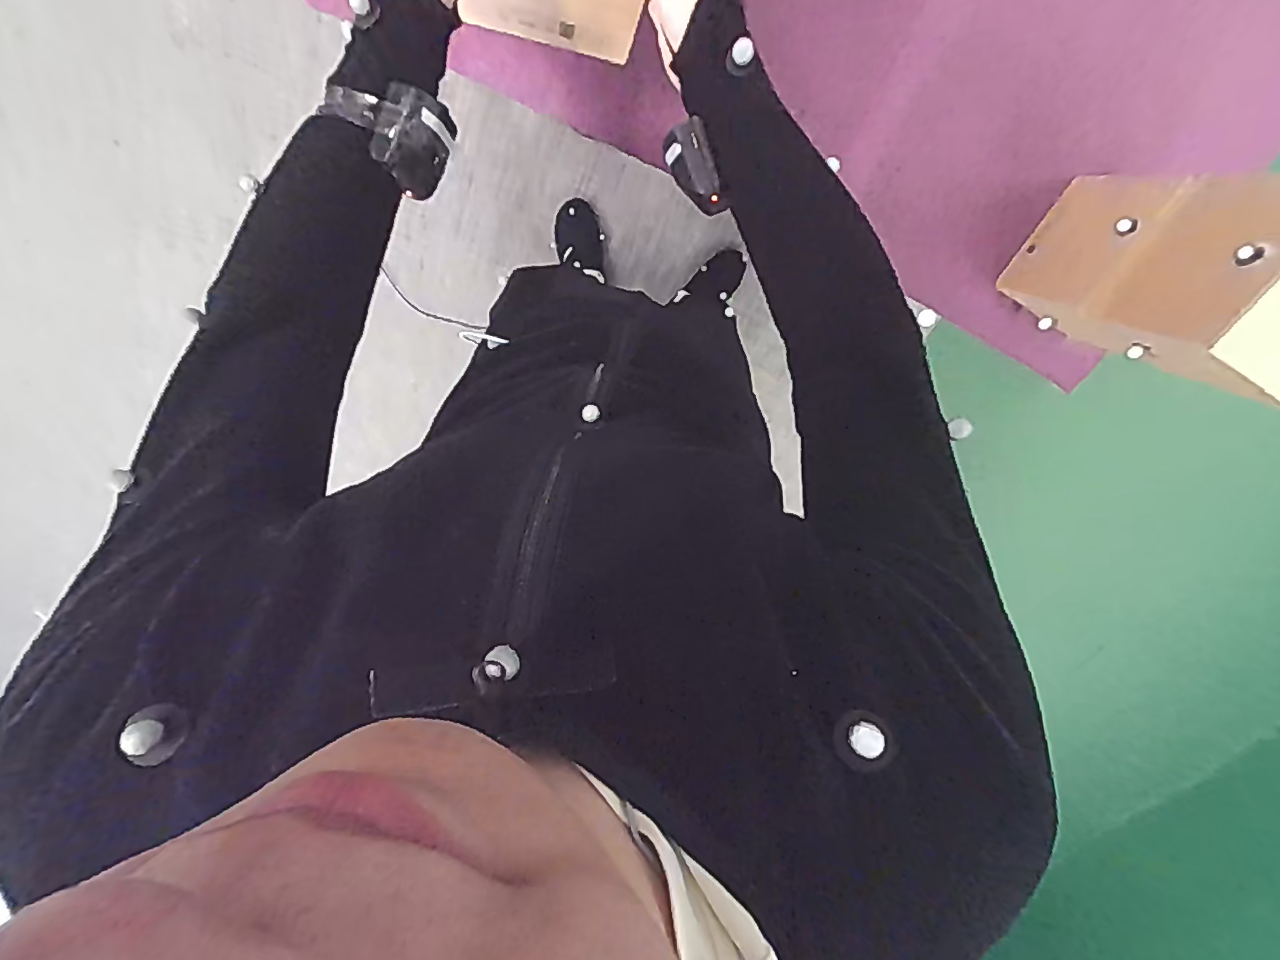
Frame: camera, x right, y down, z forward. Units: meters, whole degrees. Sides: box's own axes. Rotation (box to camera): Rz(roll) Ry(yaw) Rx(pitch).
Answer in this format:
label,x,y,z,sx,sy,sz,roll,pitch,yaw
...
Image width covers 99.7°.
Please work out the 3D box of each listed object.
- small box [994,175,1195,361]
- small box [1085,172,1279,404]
label,x,y,z,sx,sy,sz,roll,pitch,yaw
small box,0.644,-0.292,0.734,0.179,0.176,0.168,22,115,-17
small box,0.661,-0.213,0.592,0.168,0.176,0.179,23,115,-15
